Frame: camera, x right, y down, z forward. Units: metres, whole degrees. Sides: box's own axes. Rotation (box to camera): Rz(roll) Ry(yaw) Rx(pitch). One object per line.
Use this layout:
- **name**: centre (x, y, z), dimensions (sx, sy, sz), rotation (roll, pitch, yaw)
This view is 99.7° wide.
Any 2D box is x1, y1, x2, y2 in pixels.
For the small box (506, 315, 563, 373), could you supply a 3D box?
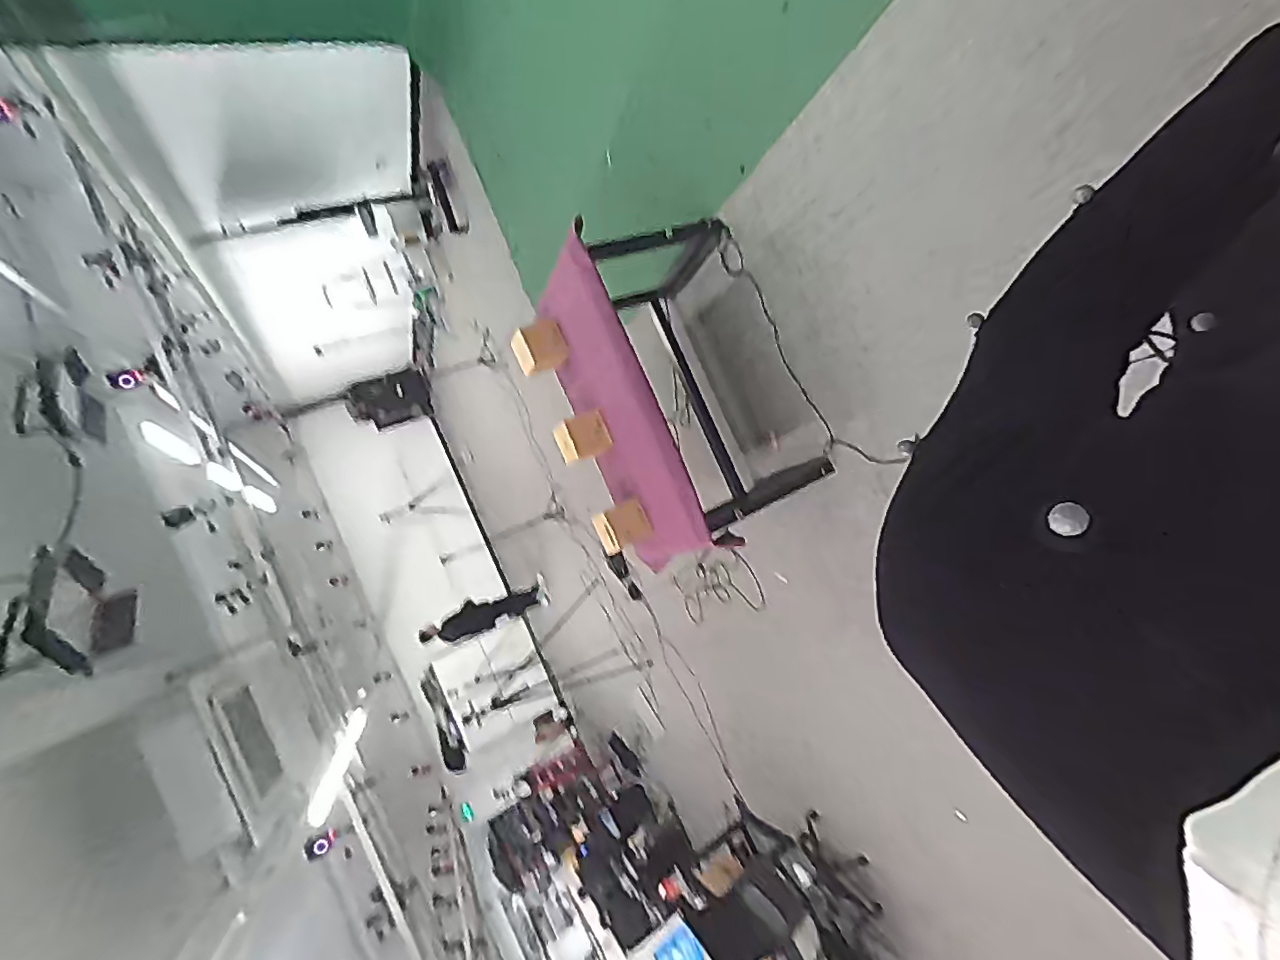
- **small box**: centre (-0.450, -0.579, 2.305), dimensions (0.168, 0.176, 0.179), rotation (64, 154, -2)

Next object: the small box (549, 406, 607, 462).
- **small box**: centre (-0.260, -0.194, 2.285), dimensions (0.179, 0.176, 0.168), rotation (-24, 89, 63)
